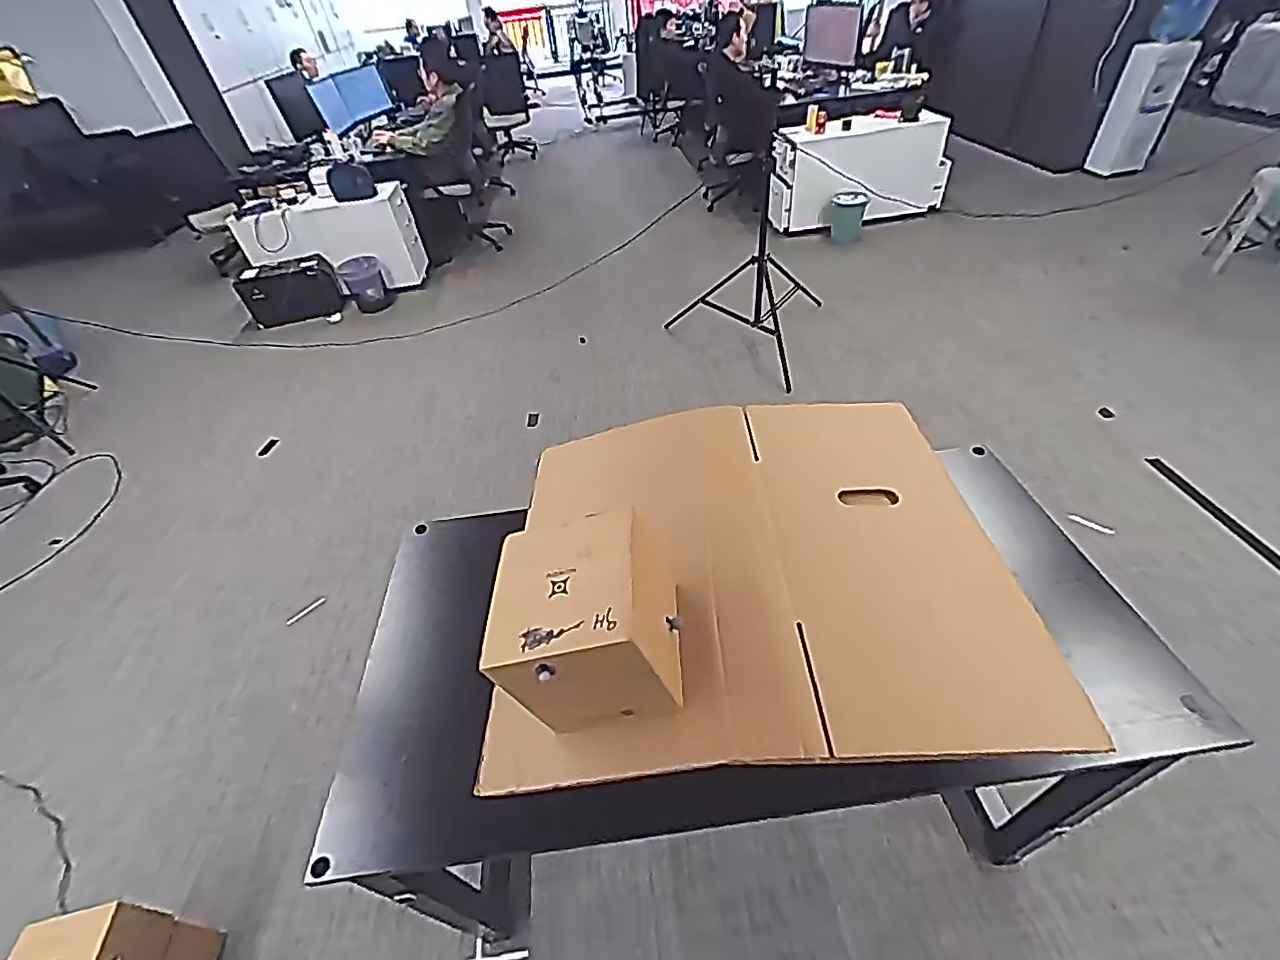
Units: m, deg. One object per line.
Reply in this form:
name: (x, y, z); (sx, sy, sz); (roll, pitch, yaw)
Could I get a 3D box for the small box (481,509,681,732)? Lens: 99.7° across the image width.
small box: (-0.055, 0.166, 0.631); (0.168, 0.176, 0.179); (-15, 41, 13)

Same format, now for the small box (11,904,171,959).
small box: (-1.038, 0.933, 1.007); (0.168, 0.176, 0.179); (-12, 42, -6)

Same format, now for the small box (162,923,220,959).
small box: (-1.021, 1.055, 1.114); (0.168, 0.176, 0.179); (-11, 44, -4)
